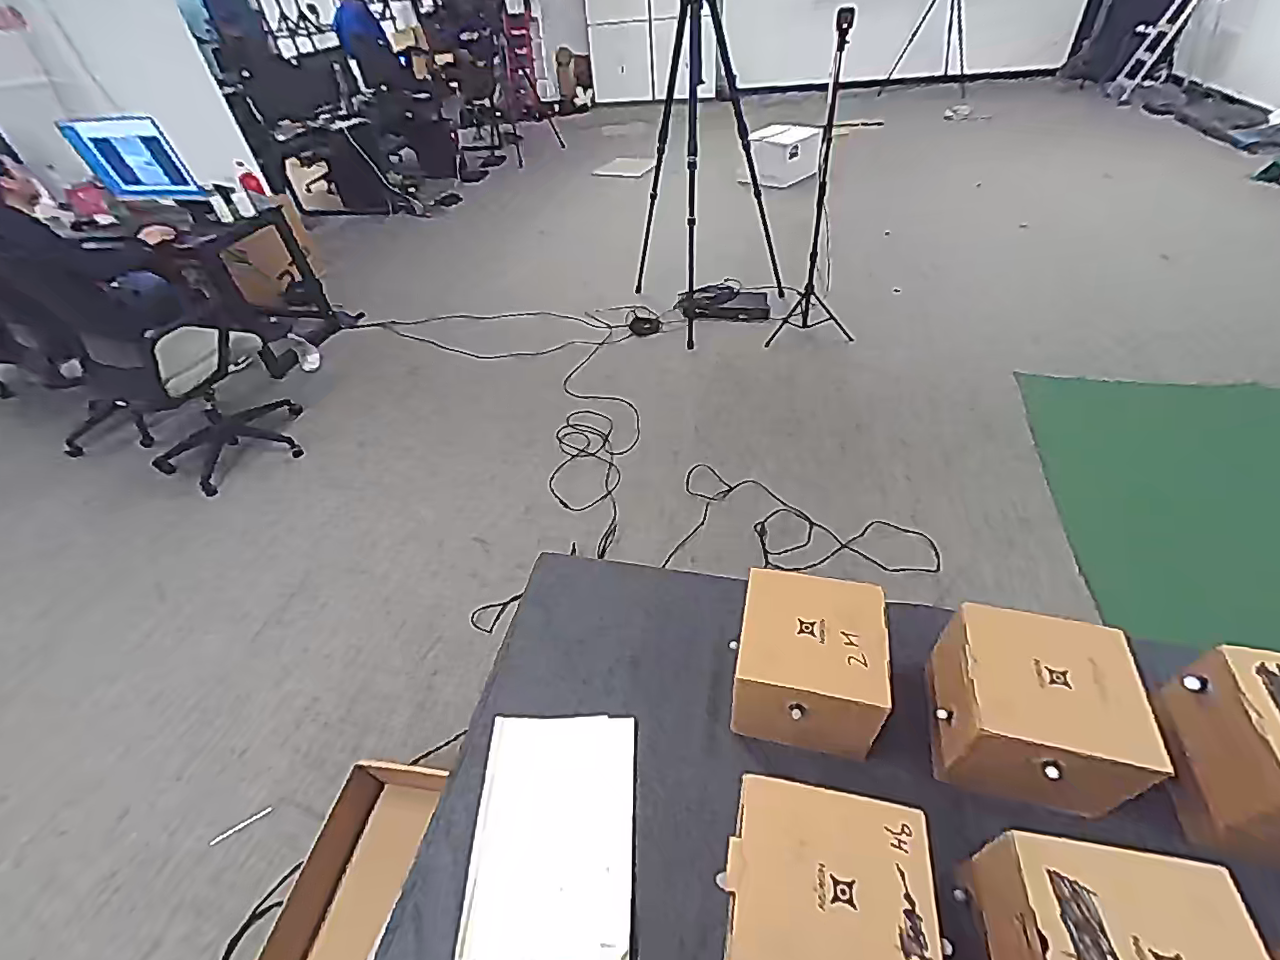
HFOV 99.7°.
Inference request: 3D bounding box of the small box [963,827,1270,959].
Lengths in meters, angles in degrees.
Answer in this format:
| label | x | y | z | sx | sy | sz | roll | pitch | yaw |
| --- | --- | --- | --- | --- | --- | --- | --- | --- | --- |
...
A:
| label | x | y | z | sx | sy | sz | roll | pitch | yaw |
| --- | --- | --- | --- | --- | --- | --- | --- | --- | --- |
| small box | 0.417 | 0.444 | 0.486 | 0.179 | 0.176 | 0.168 | 5 | 44 | 10 |
